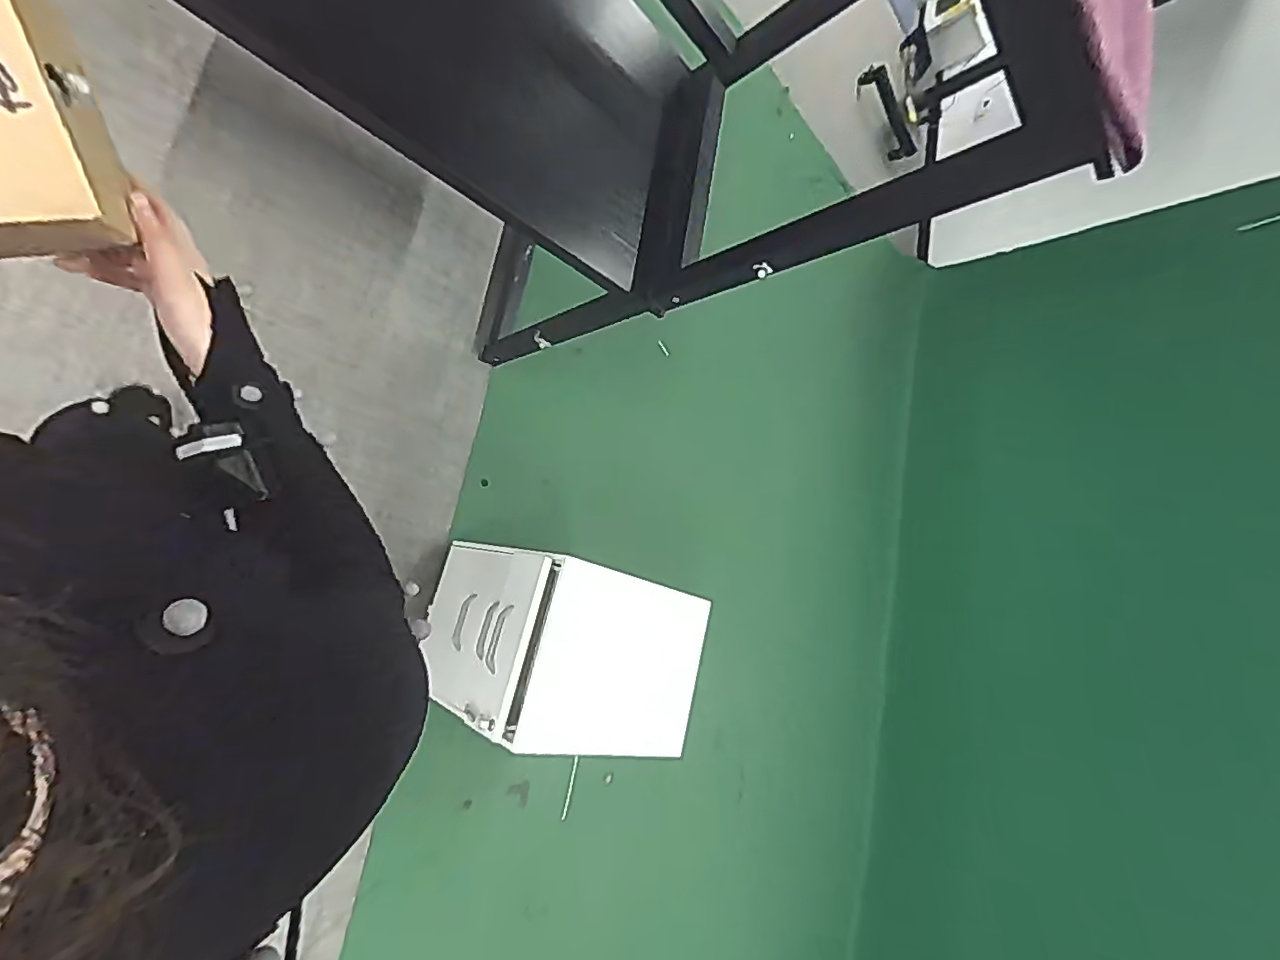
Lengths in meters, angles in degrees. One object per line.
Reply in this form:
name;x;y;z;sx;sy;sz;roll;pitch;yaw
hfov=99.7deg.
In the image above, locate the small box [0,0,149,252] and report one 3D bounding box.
small box;-0.387;-0.203;0.258;0.179;0.176;0.168;-19;114;-29
